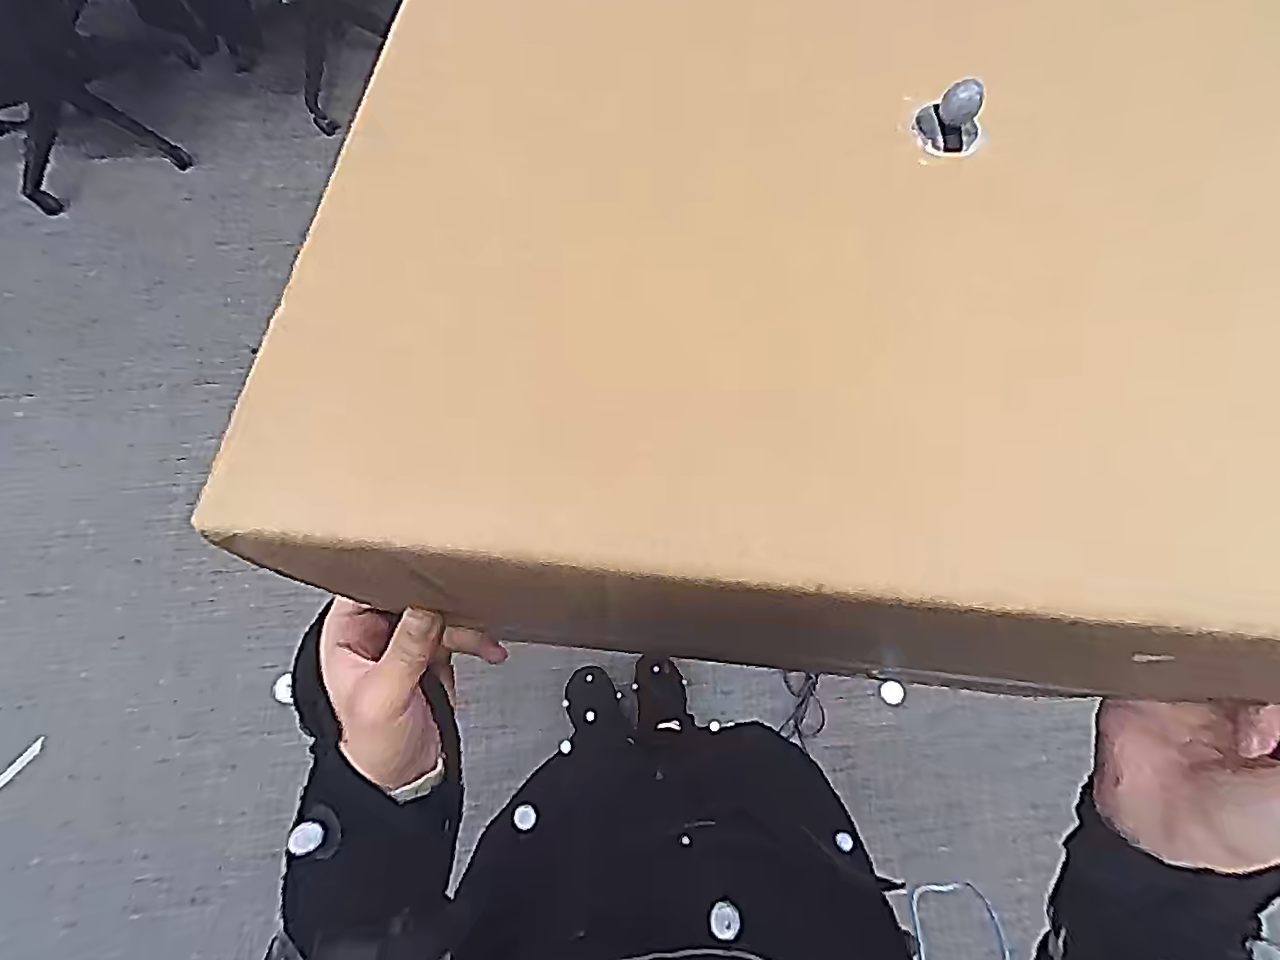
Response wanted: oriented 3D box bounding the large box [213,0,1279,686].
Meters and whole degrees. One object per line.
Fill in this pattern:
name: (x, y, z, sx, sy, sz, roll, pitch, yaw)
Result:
large box: (0.092, -0.063, 0.326, 0.408, 0.320, 0.320, 5, 70, 0)
